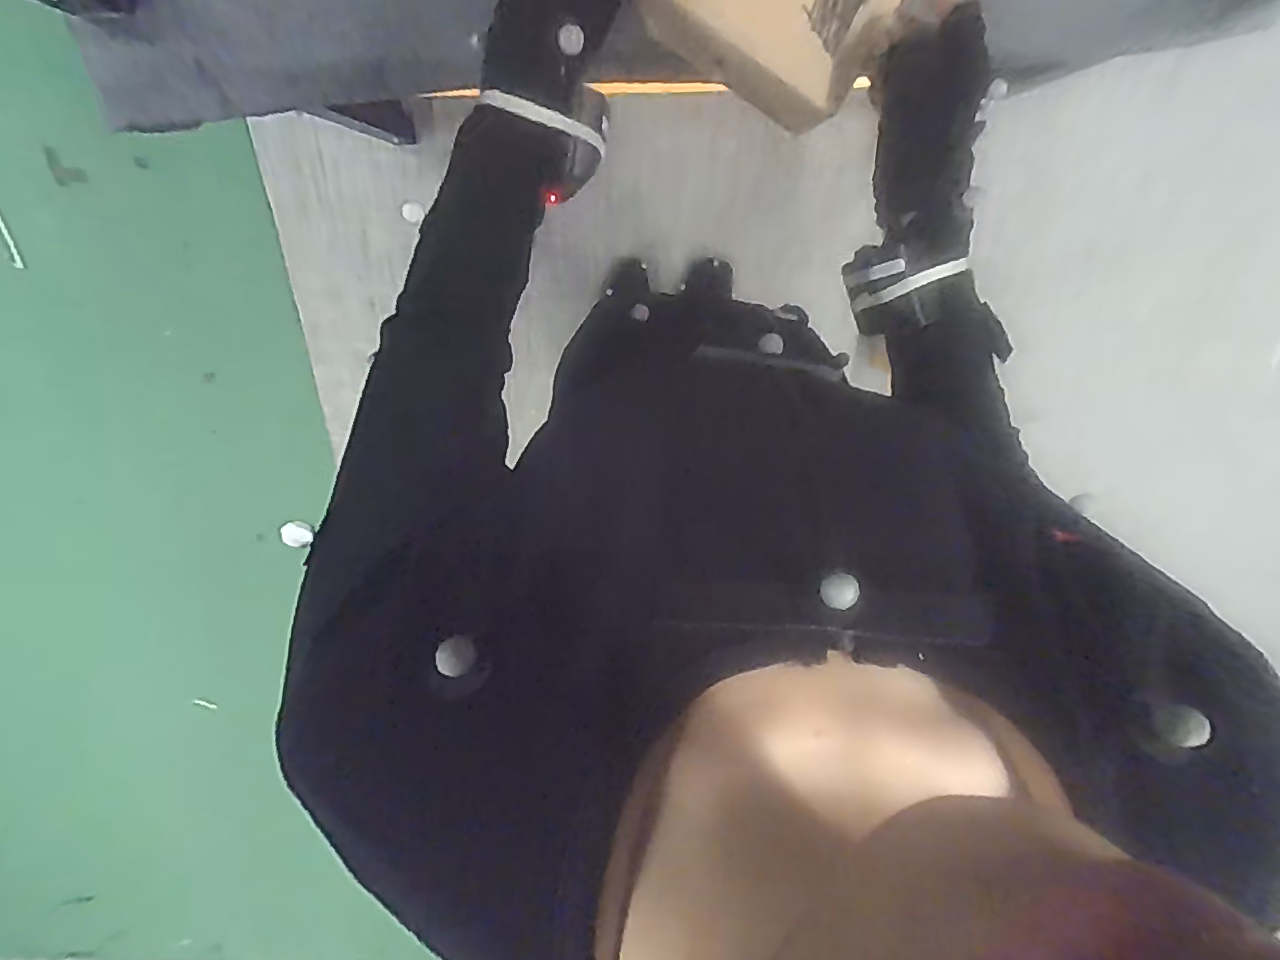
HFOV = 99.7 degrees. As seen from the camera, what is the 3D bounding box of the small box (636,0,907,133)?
[{"bbox_3d":[0.113,-0.399,0.416,0.179,0.176,0.168,31,117,-8],"label":"small box"}]
